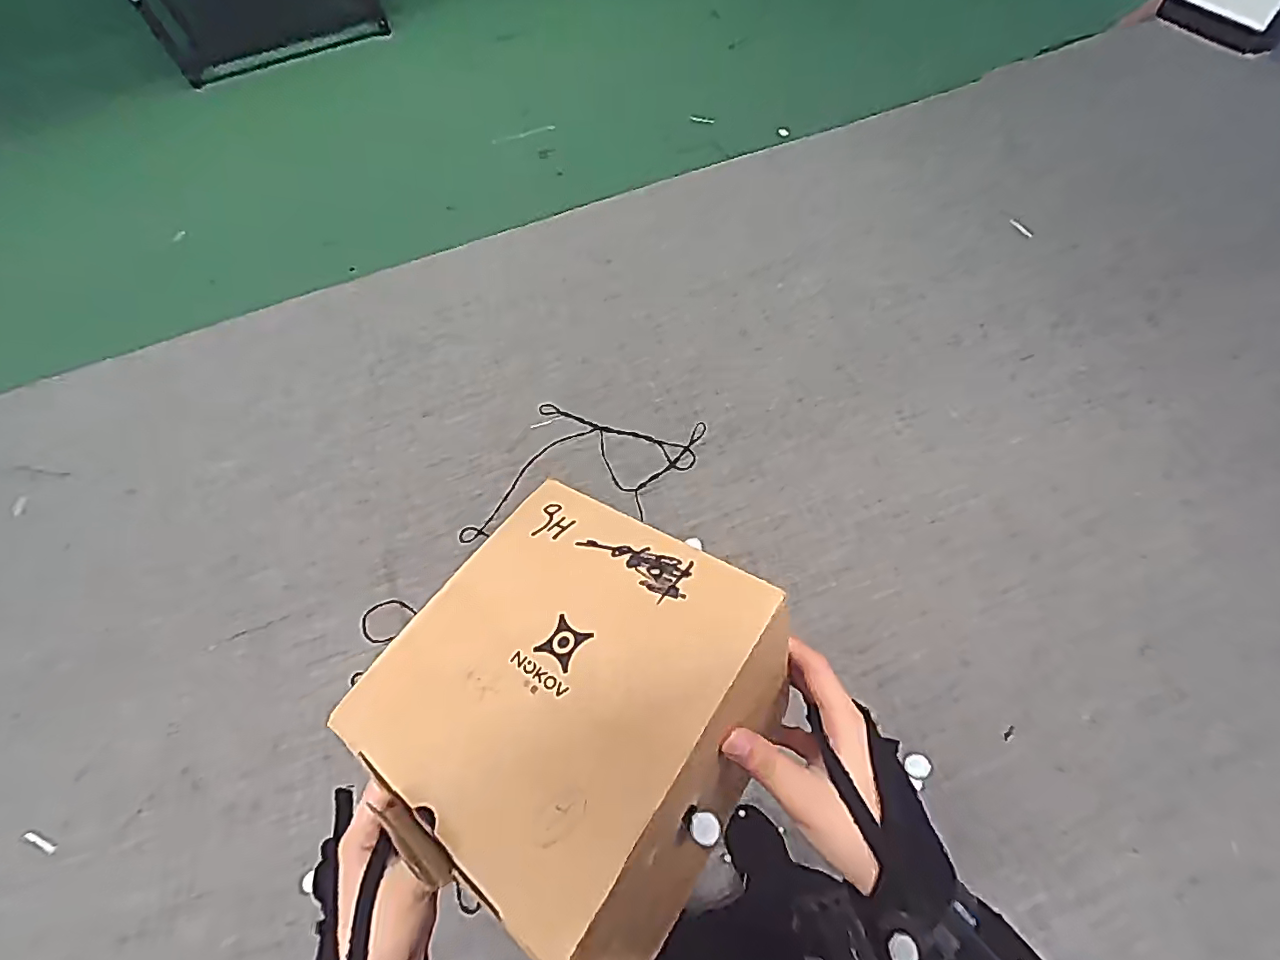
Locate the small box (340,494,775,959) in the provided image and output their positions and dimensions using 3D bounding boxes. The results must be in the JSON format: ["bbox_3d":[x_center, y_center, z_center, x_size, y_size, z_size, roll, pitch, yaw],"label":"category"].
[{"bbox_3d":[-0.026,0.146,0.331,0.168,0.176,0.179,23,61,30],"label":"small box"}]
